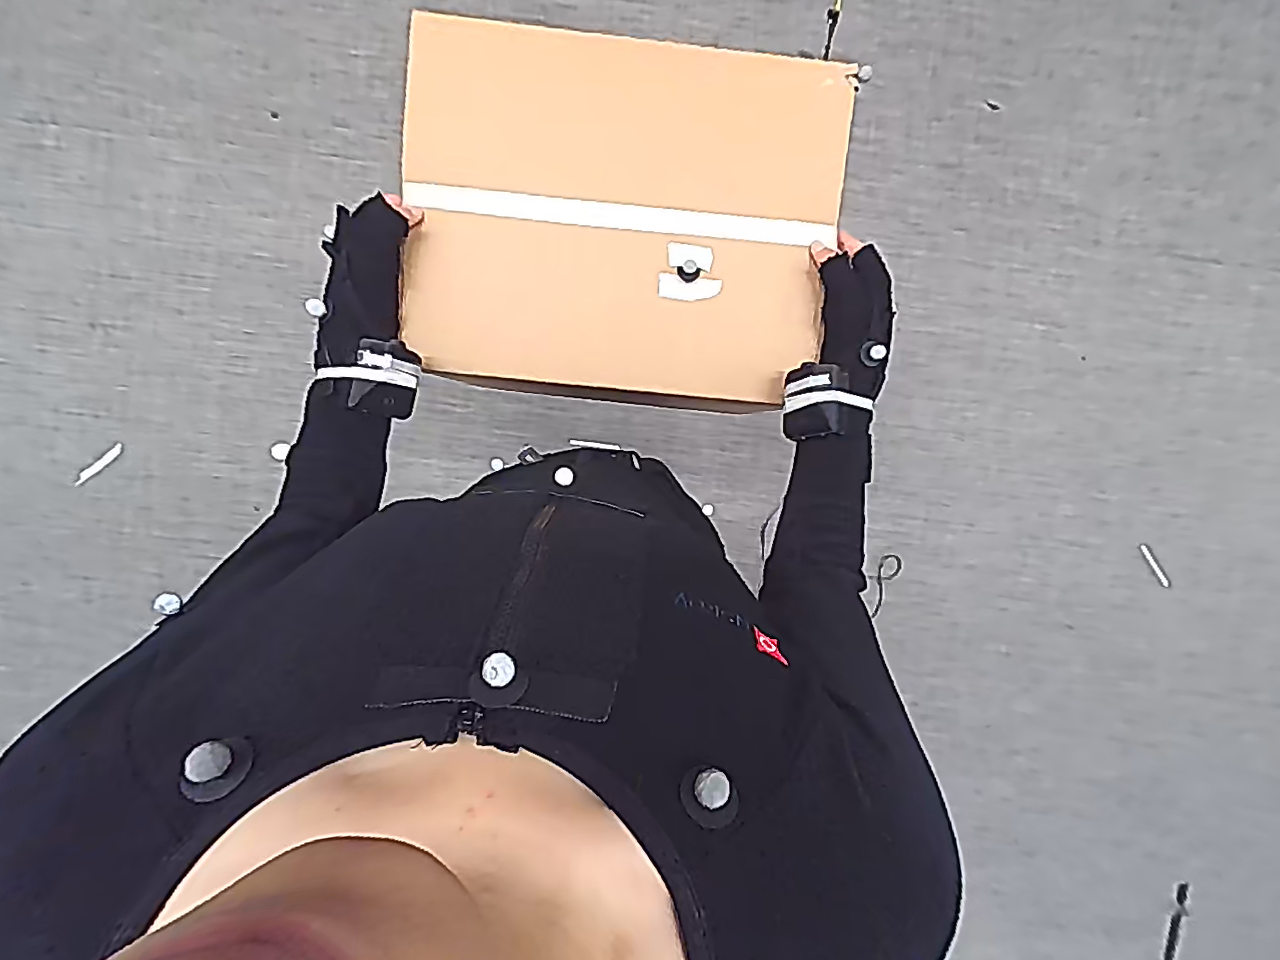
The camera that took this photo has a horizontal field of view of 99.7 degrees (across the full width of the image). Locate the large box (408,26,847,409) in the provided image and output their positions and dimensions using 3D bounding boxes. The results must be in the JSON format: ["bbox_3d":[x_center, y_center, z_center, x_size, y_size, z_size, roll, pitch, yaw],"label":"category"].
[{"bbox_3d":[-0.021,-0.261,0.659,0.408,0.320,0.320,5,96,-3],"label":"large box"}]

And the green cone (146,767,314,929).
[{"bbox_3d":[-1.039,0.932,1.340,0.202,0.368,0.200,-31,93,2],"label":"green cone"}]
